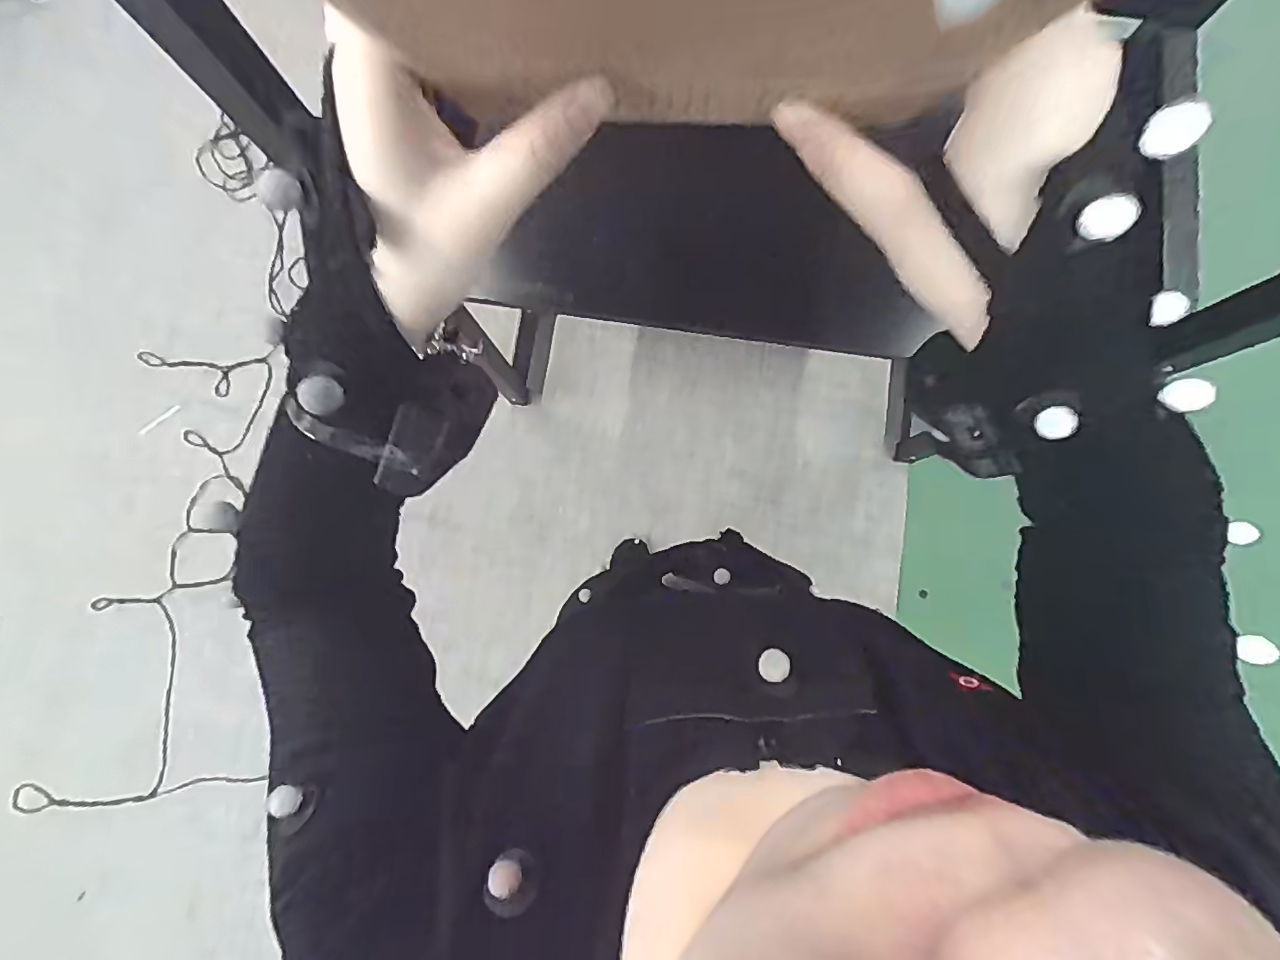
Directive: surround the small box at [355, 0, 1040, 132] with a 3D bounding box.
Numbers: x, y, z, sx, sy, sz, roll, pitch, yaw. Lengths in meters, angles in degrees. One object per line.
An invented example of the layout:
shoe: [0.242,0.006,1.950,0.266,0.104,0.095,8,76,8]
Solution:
small box: [0.014,-0.185,0.112,0.179,0.176,0.168,1,112,1]
